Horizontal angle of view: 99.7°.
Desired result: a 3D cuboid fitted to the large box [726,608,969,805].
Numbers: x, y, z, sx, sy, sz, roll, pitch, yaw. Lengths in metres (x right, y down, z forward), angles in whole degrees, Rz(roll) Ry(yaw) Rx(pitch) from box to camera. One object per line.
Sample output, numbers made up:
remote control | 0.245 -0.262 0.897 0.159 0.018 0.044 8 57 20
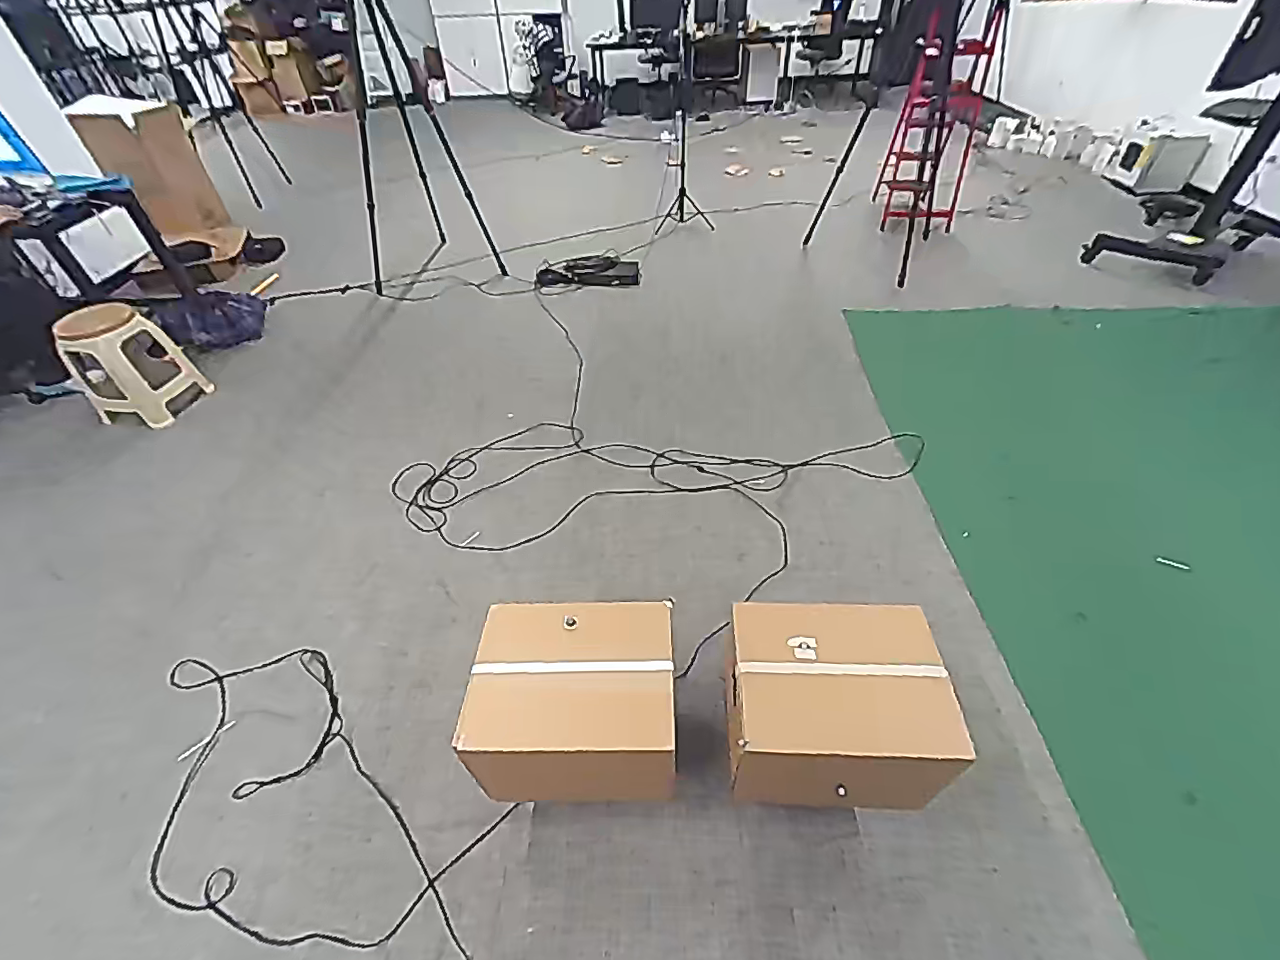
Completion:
large box | 0.405 0.494 1.179 0.408 0.320 0.320 0 44 4
